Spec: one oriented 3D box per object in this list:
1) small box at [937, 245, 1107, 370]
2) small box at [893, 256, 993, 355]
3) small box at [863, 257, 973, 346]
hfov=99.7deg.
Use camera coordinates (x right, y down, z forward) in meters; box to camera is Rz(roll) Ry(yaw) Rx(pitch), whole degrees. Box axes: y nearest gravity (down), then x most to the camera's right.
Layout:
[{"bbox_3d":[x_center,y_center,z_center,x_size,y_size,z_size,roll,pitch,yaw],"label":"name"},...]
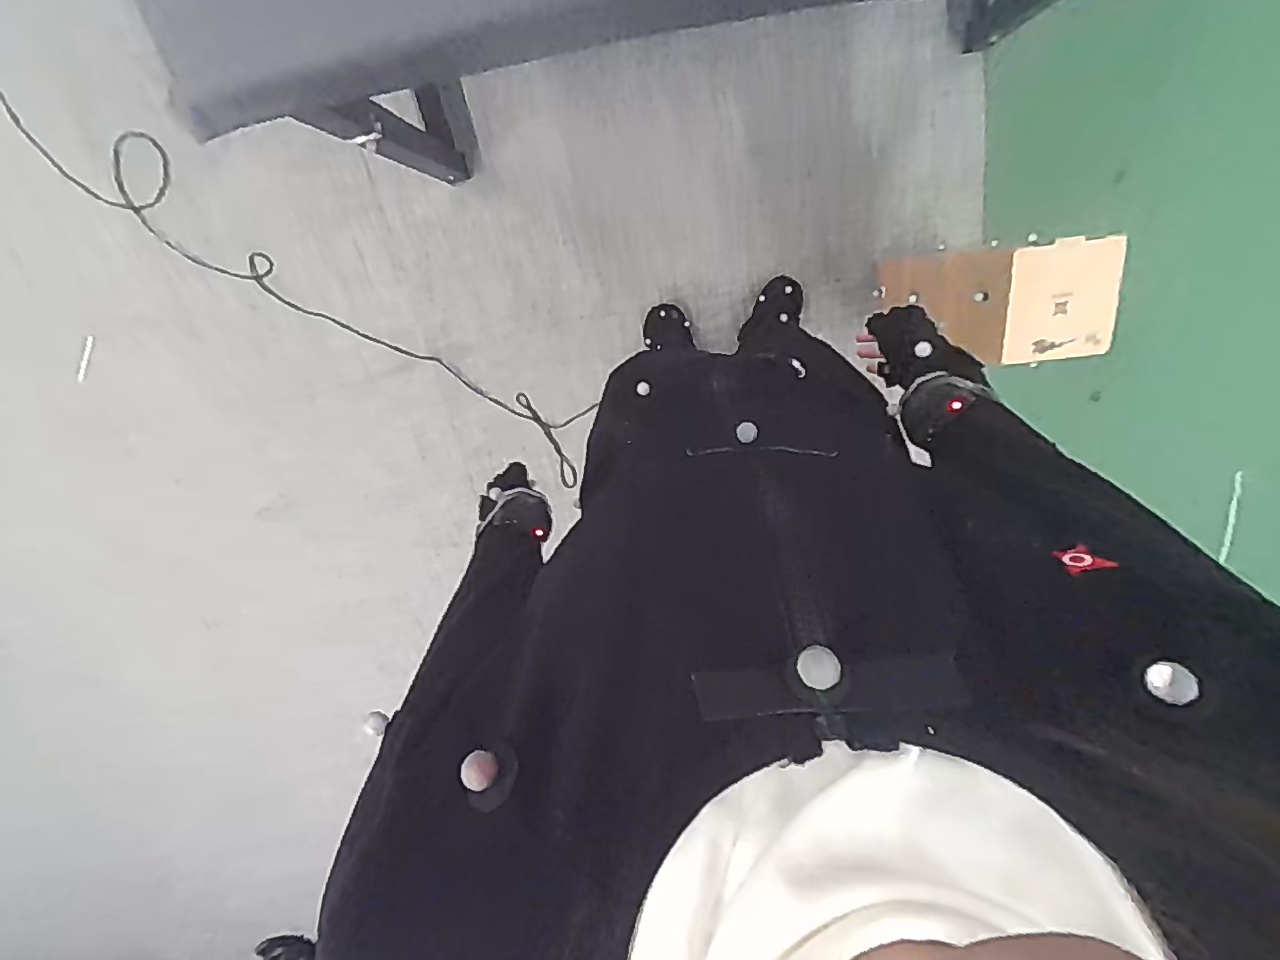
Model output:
[{"bbox_3d":[0.629,-0.289,0.915,0.168,0.176,0.179,-5,108,3],"label":"small box"},{"bbox_3d":[0.626,-0.348,1.067,0.179,0.176,0.168,-5,109,4],"label":"small box"},{"bbox_3d":[0.624,-0.405,1.221,0.179,0.176,0.168,-7,109,5],"label":"small box"}]
